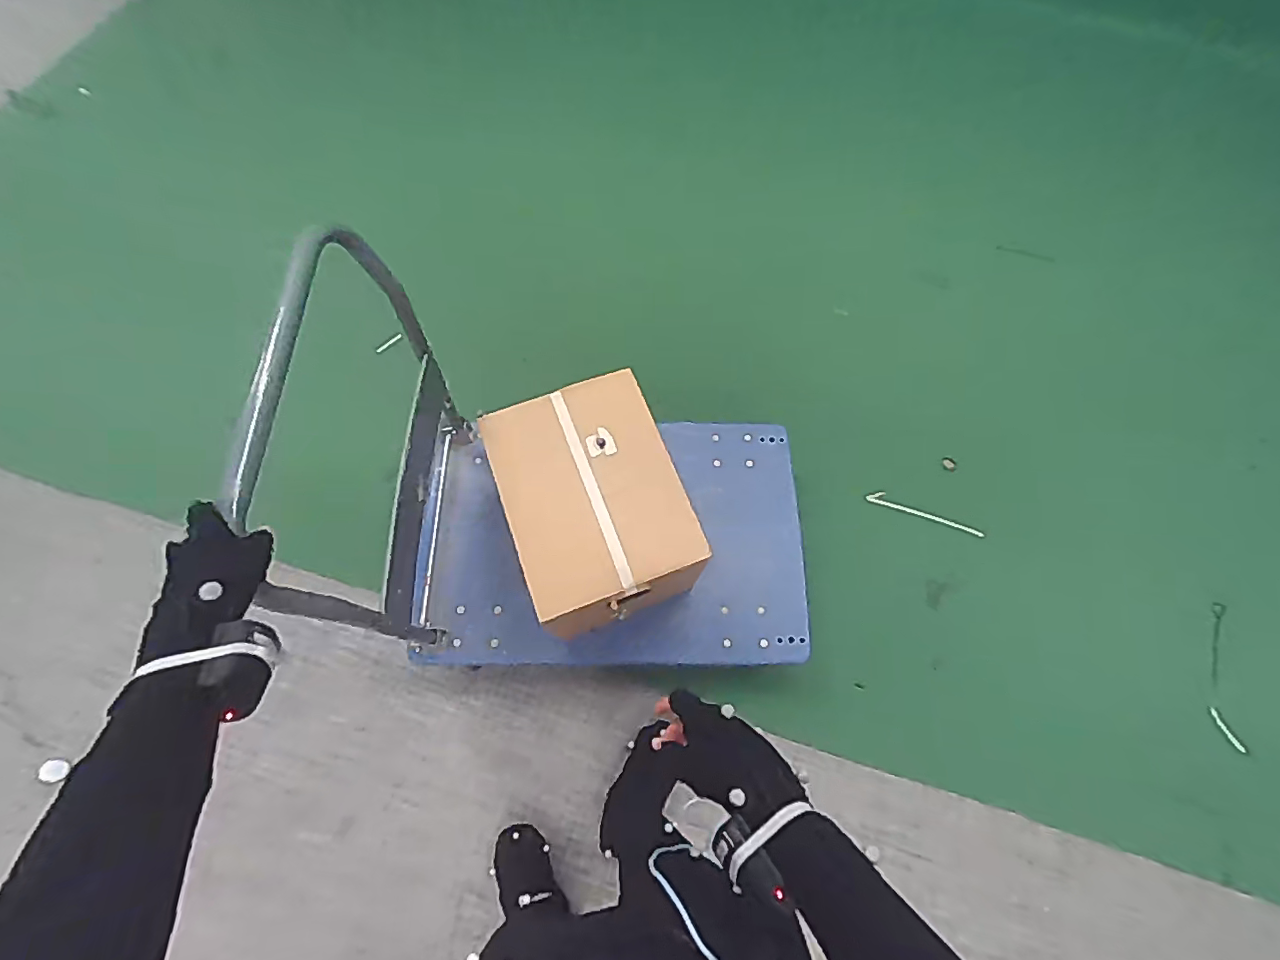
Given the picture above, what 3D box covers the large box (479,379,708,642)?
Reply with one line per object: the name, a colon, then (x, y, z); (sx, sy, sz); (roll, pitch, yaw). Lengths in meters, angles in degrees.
large box: (-0.091, 0.075, 1.120); (0.320, 0.320, 0.408); (-20, 69, -9)
